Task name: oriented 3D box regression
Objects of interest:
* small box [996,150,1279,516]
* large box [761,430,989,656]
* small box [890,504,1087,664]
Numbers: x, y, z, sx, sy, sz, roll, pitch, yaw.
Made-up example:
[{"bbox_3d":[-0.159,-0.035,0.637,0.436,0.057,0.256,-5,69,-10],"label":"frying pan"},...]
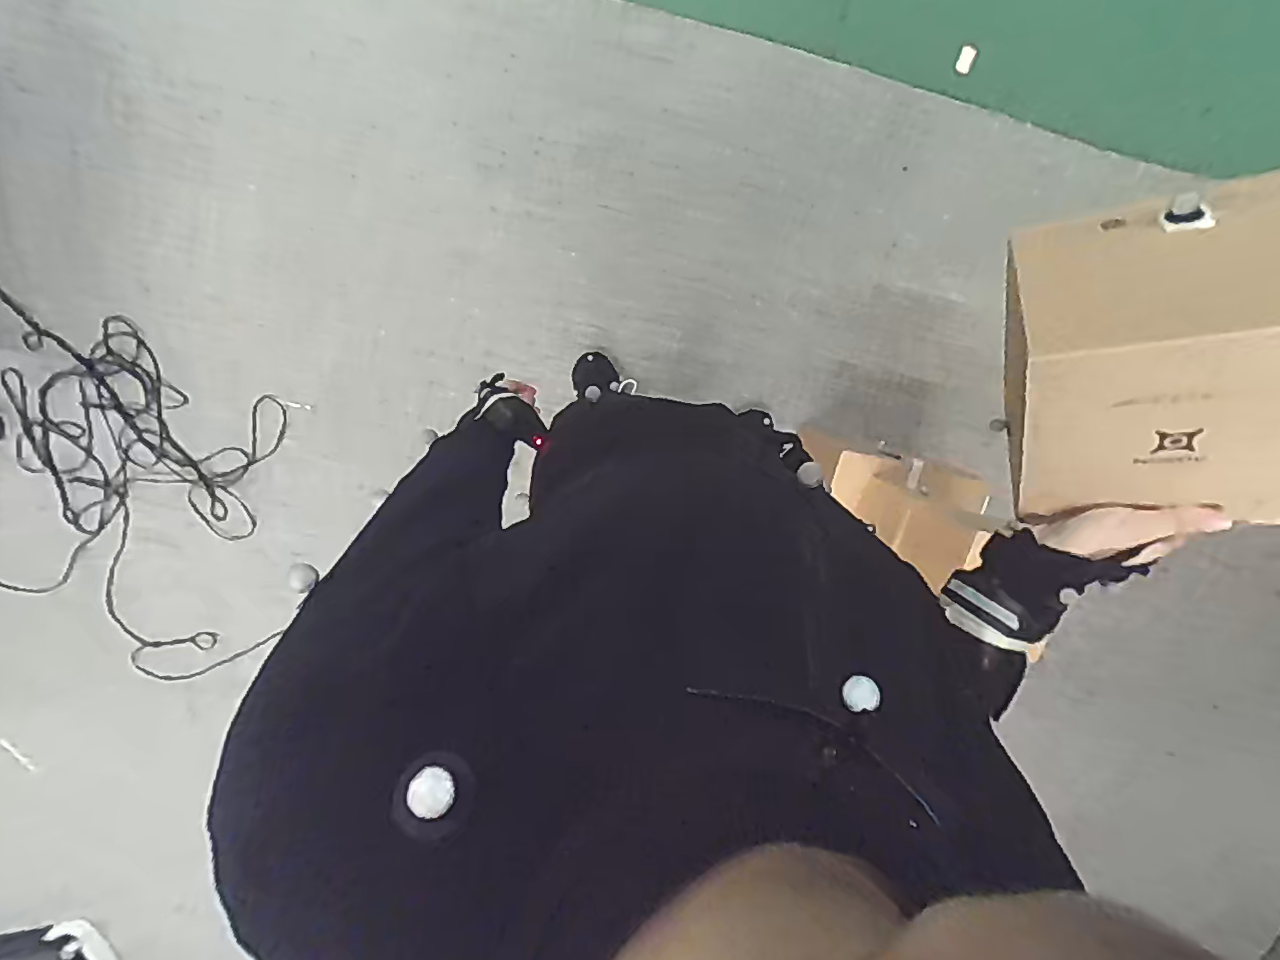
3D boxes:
[{"bbox_3d":[0.363,-0.092,0.390,0.168,0.176,0.179,-4,137,32],"label":"small box"},{"bbox_3d":[0.505,0.125,1.252,0.320,0.320,0.408,12,105,-2],"label":"large box"},{"bbox_3d":[0.520,0.151,0.839,0.168,0.176,0.179,13,104,-4],"label":"small box"}]
